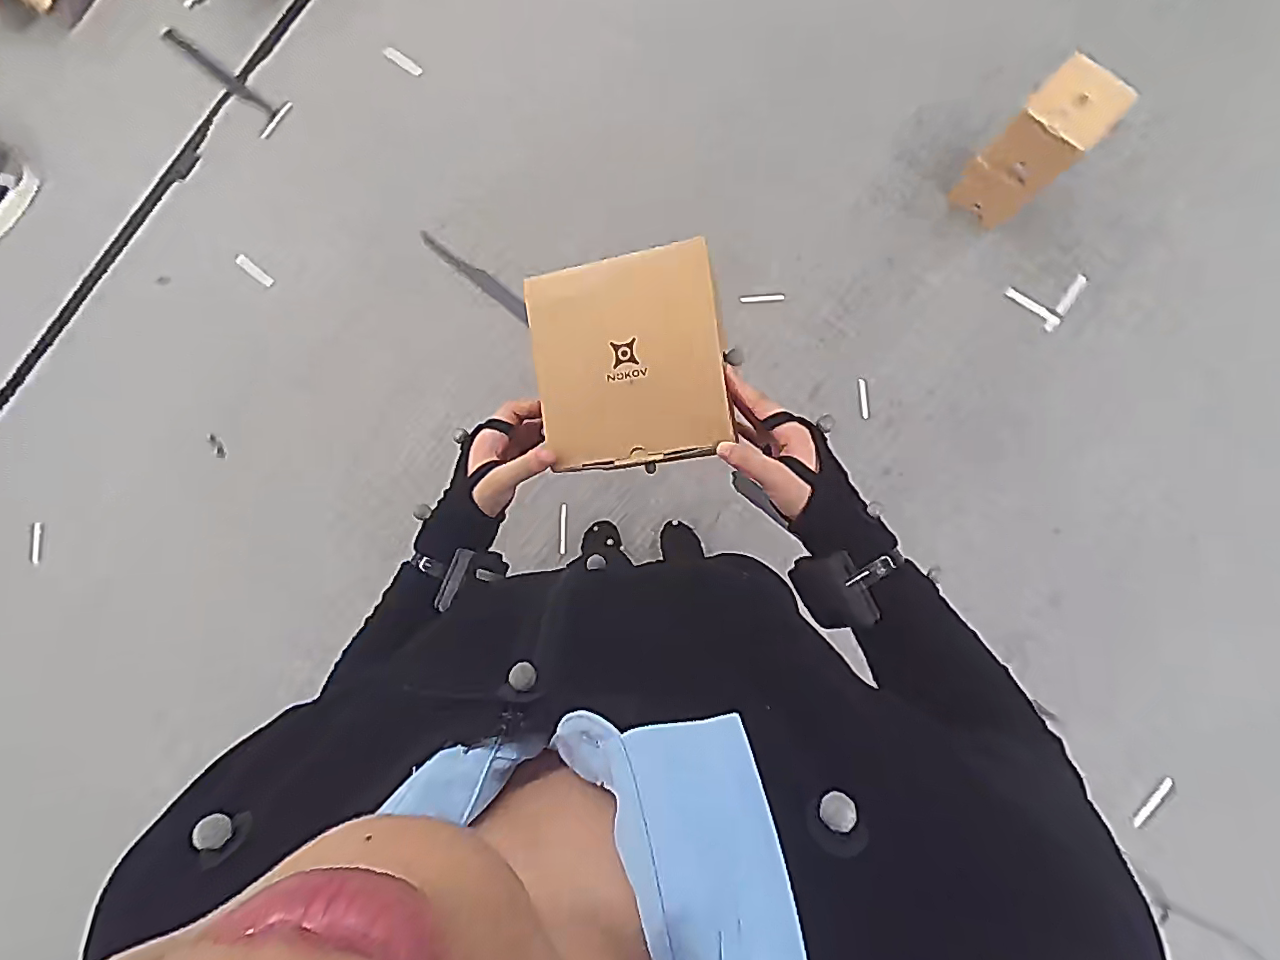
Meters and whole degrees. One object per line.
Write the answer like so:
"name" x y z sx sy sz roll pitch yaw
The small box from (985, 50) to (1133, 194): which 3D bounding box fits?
"small box" 0.947 -0.812 1.243 0.168 0.176 0.179 43 91 8
